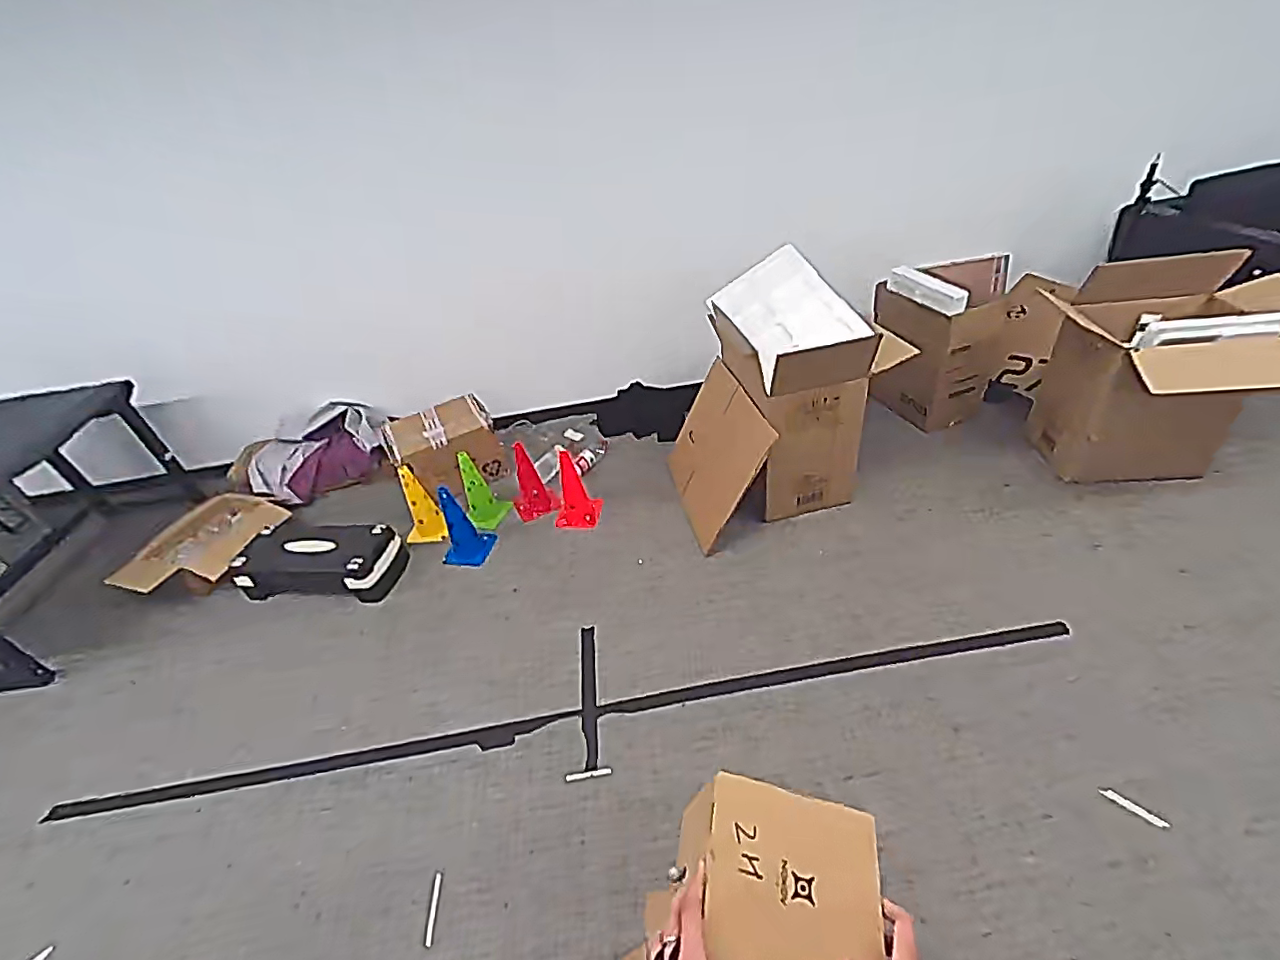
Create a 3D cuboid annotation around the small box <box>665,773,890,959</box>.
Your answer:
[{"bbox_3d":[0.136,0.441,0.568,0.179,0.176,0.168,14,45,3],"label":"small box"}]
